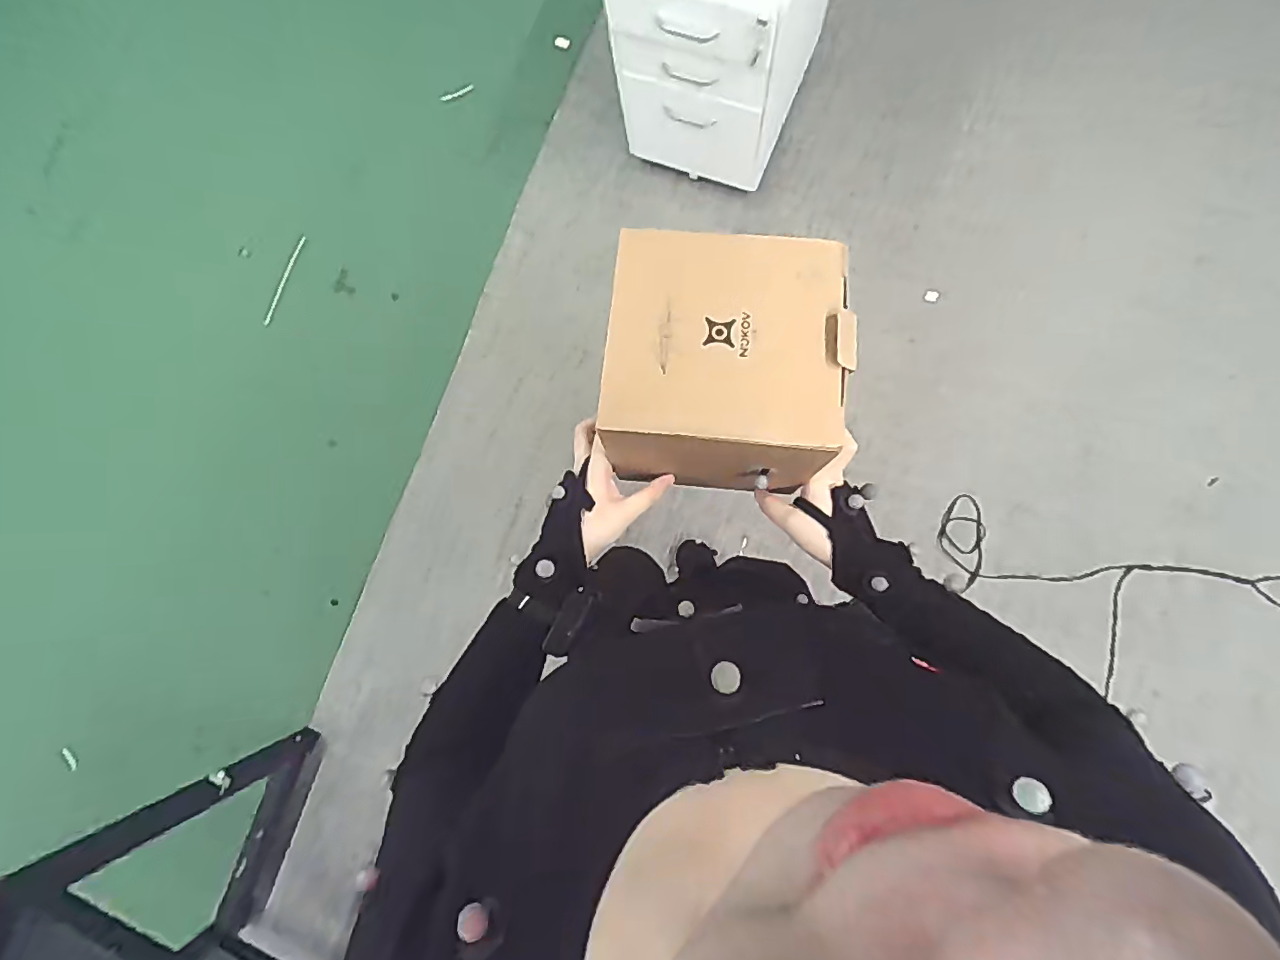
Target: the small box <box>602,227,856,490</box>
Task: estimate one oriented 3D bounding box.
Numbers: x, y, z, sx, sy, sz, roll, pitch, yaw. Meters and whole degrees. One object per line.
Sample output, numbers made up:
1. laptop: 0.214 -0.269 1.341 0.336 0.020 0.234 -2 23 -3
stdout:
1. small box: 0.071 -0.090 0.472 0.179 0.176 0.168 5 77 5
